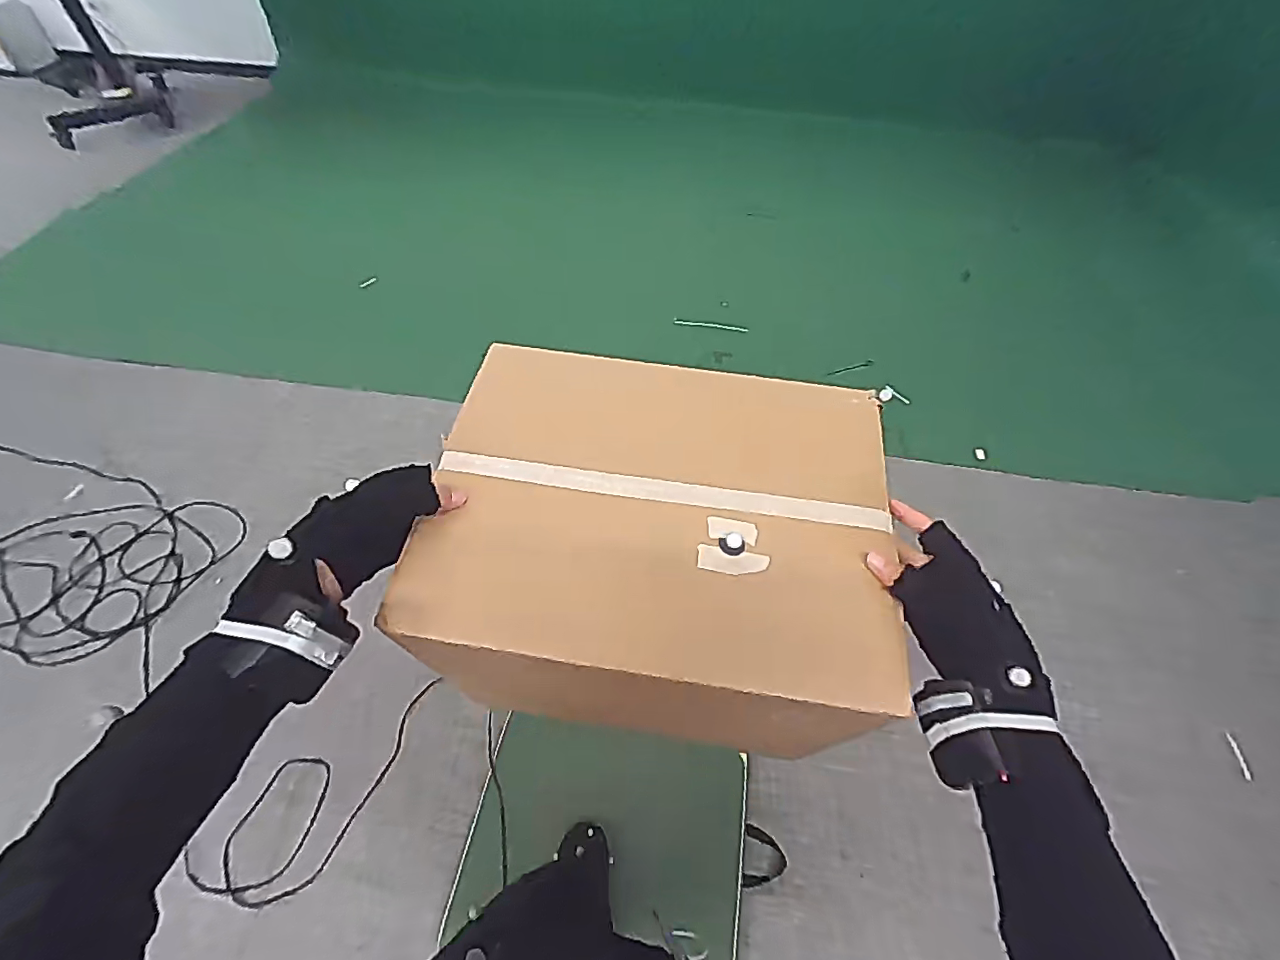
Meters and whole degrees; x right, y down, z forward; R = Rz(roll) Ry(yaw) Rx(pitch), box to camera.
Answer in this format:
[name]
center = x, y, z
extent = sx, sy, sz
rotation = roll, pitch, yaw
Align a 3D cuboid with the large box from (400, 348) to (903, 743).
[large box]
center = 0.018, 0.088, 0.621
extent = 0.408, 0.320, 0.320
rotation = 9, 58, 3
